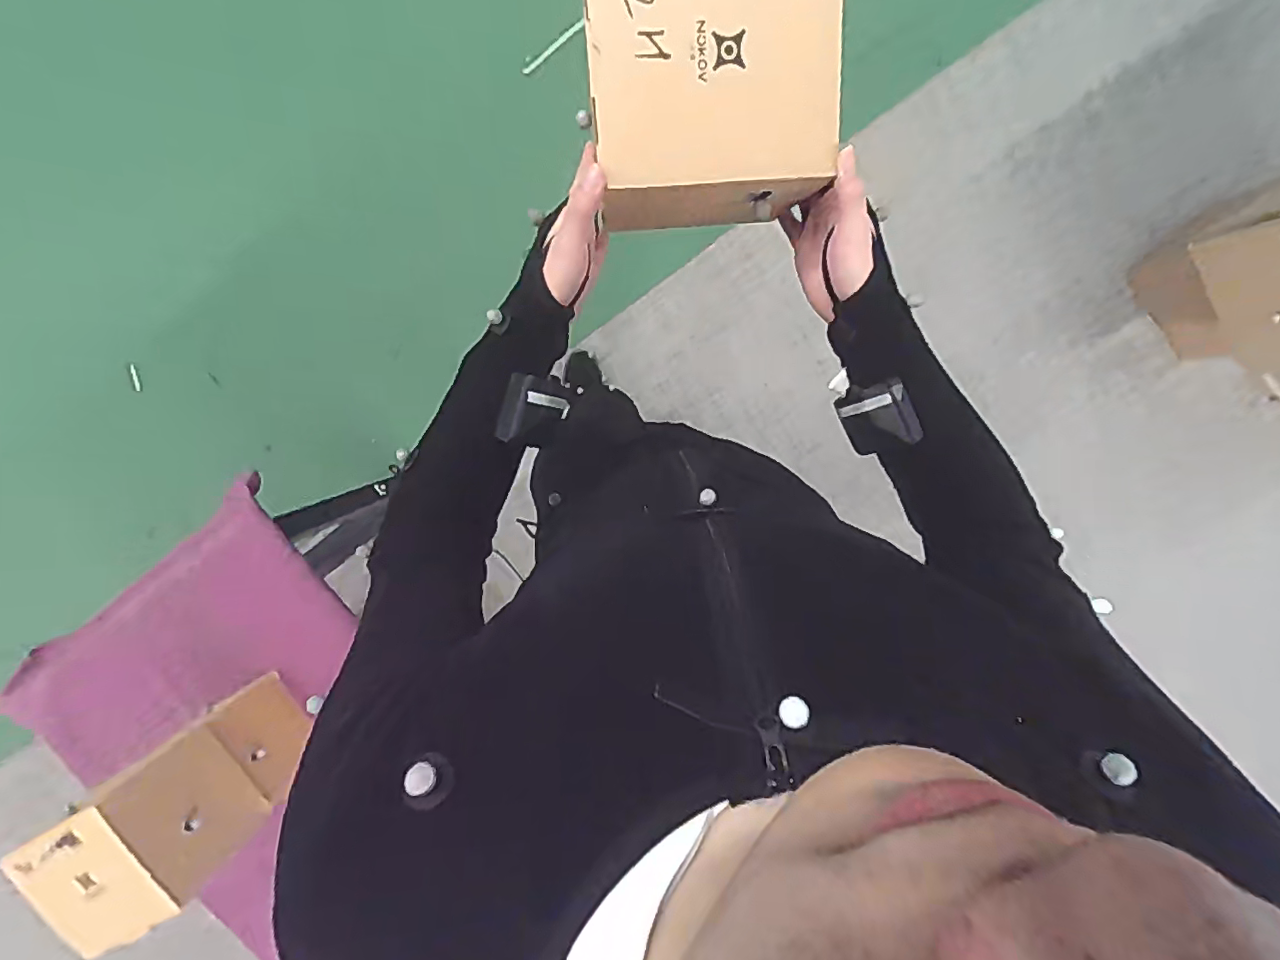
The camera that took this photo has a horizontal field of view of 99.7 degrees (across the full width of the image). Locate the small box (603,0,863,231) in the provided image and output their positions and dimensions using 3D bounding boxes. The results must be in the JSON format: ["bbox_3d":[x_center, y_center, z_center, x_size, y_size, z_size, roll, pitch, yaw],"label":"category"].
[{"bbox_3d":[0.061,-0.311,0.447,0.179,0.176,0.168,-4,105,-2],"label":"small box"}]

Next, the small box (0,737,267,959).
[{"bbox_3d":[-0.668,0.498,0.737,0.168,0.176,0.179,-31,99,5],"label":"small box"}]

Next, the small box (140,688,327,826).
[{"bbox_3d":[-0.676,0.477,0.900,0.168,0.176,0.179,-31,99,5],"label":"small box"}]
